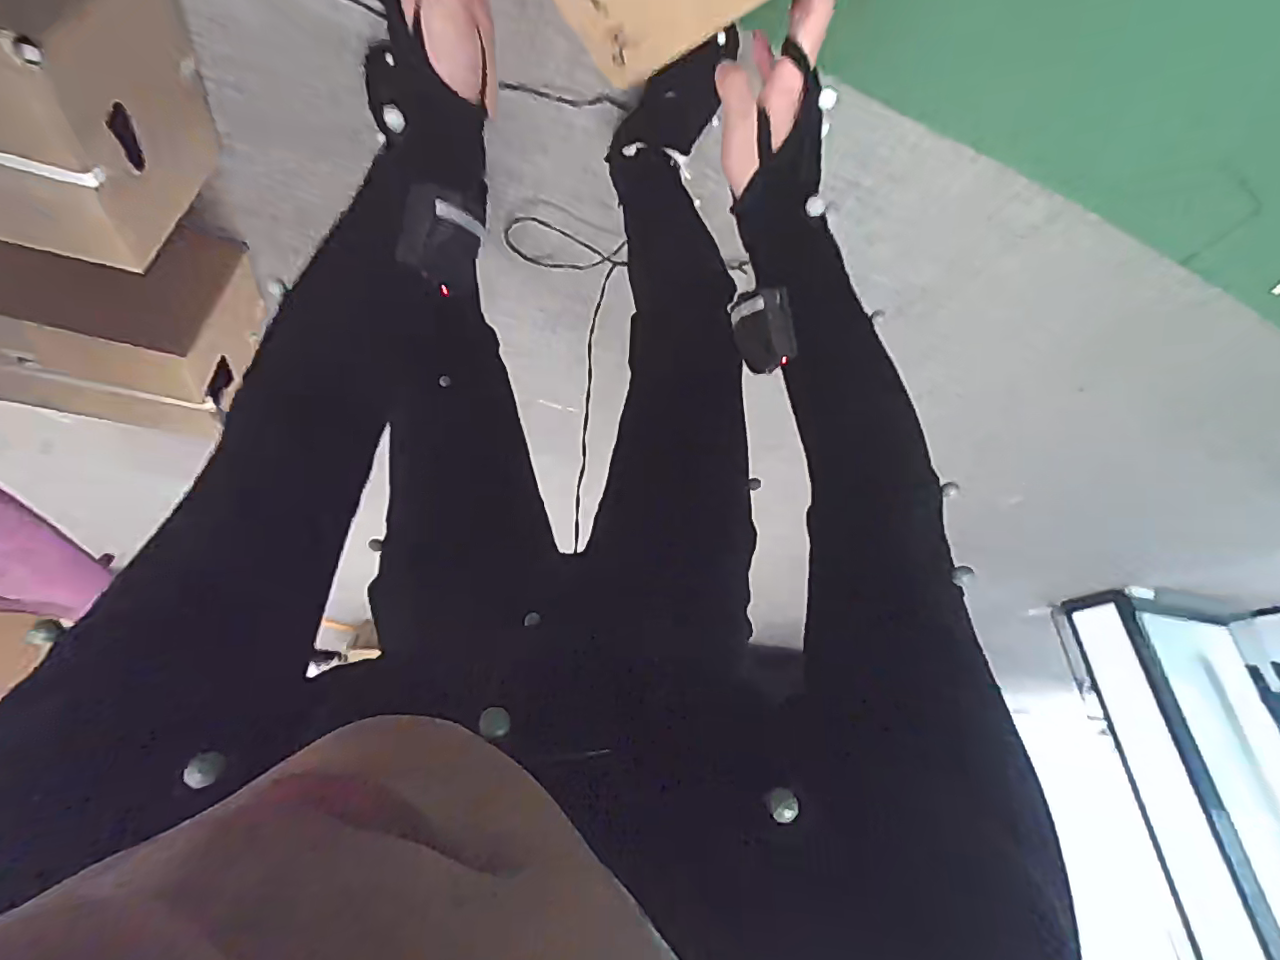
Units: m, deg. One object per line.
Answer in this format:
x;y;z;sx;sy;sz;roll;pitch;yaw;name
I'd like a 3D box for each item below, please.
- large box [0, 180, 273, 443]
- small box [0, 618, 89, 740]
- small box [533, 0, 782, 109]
-1.048;-0.319;1.097;0.408;0.320;0.320;13;148;-18;large box
-1.057;0.318;0.873;0.179;0.176;0.168;13;148;-17;small box
0.009;-0.415;0.362;0.179;0.176;0.168;-9;153;35;small box
